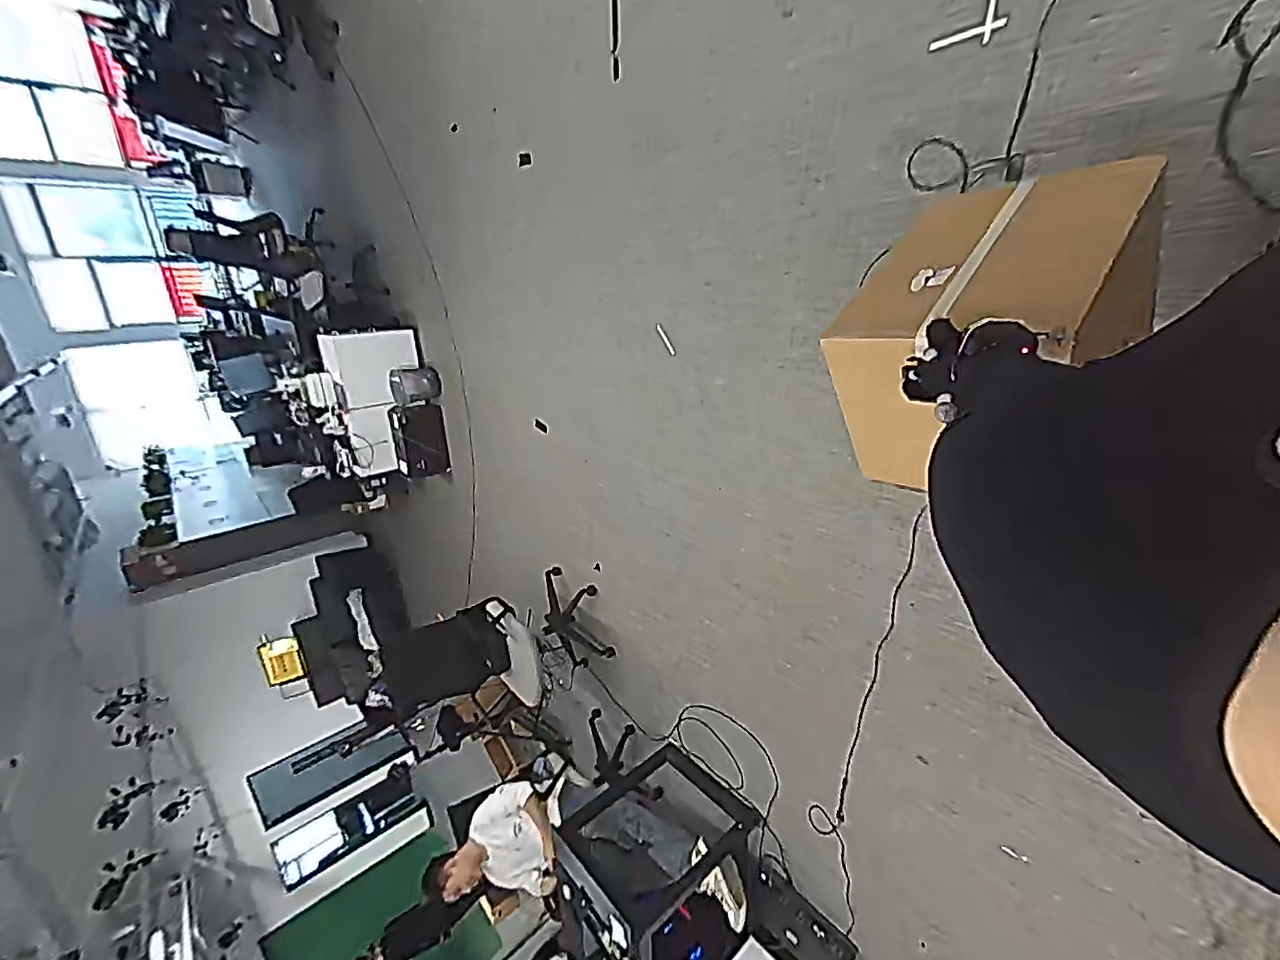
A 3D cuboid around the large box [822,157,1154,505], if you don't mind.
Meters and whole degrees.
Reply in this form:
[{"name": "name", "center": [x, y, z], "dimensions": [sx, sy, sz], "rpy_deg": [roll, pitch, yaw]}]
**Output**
[{"name": "large box", "center": [0.558, -0.230, 0.866], "dimensions": [0.320, 0.408, 0.320], "rpy_deg": [15, 149, 48]}]
